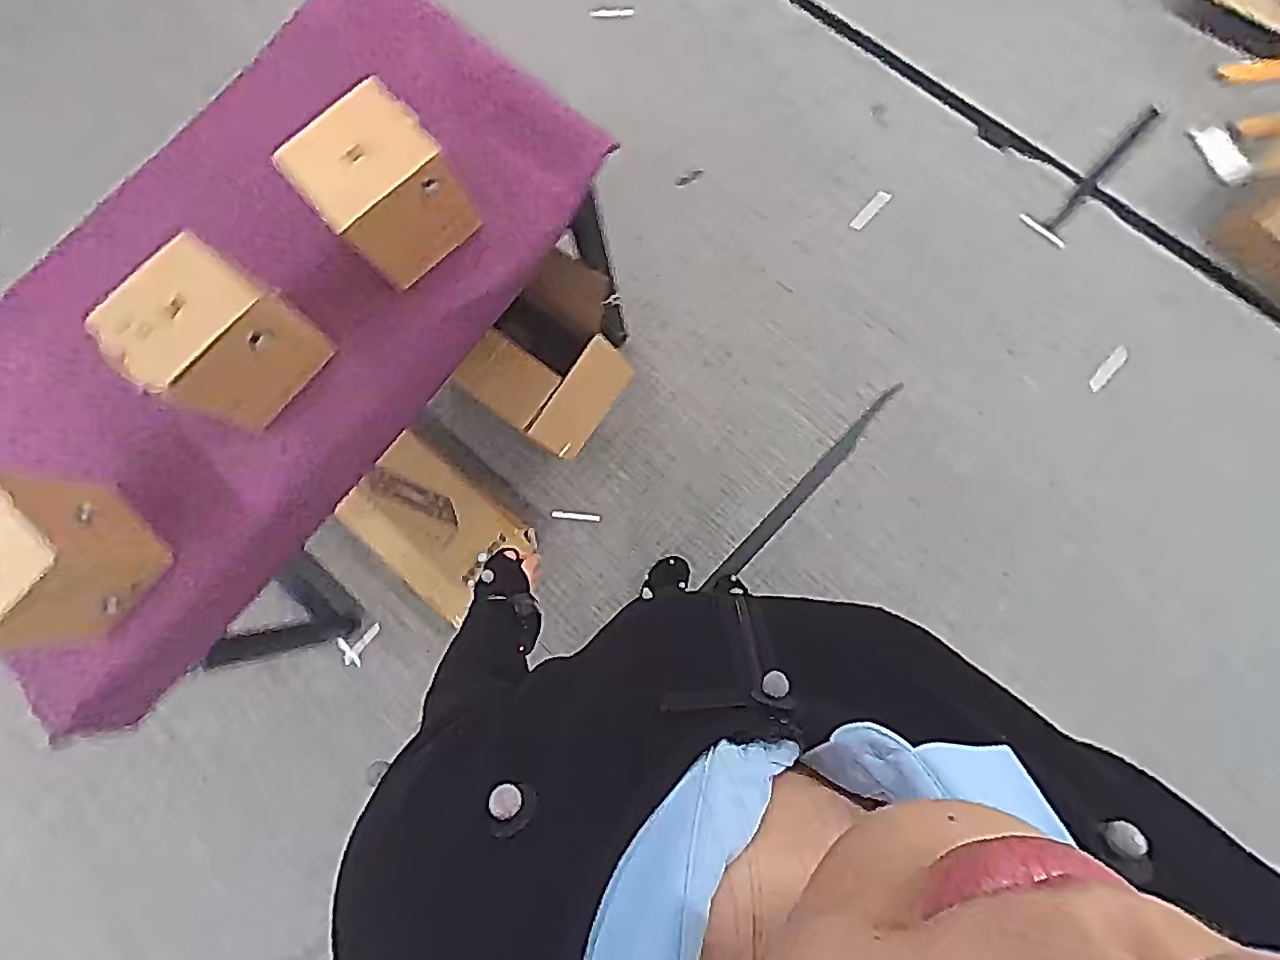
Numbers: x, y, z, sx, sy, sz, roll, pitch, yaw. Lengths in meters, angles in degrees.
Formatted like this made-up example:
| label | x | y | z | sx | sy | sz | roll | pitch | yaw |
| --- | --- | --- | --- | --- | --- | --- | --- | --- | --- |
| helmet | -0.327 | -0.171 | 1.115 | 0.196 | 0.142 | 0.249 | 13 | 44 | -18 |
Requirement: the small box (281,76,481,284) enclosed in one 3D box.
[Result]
| label | x | y | z | sx | sy | sz | roll | pitch | yaw |
| --- | --- | --- | --- | --- | --- | --- | --- | --- | --- |
| small box | -0.373 | -0.434 | 0.812 | 0.179 | 0.176 | 0.168 | -42 | 81 | -3 |

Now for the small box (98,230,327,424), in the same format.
| label | x | y | z | sx | sy | sz | roll | pitch | yaw |
| --- | --- | --- | --- | --- | --- | --- | --- | --- | --- |
| small box | -0.601 | -0.212 | 0.791 | 0.168 | 0.176 | 0.179 | 40 | 86 | 11 |
